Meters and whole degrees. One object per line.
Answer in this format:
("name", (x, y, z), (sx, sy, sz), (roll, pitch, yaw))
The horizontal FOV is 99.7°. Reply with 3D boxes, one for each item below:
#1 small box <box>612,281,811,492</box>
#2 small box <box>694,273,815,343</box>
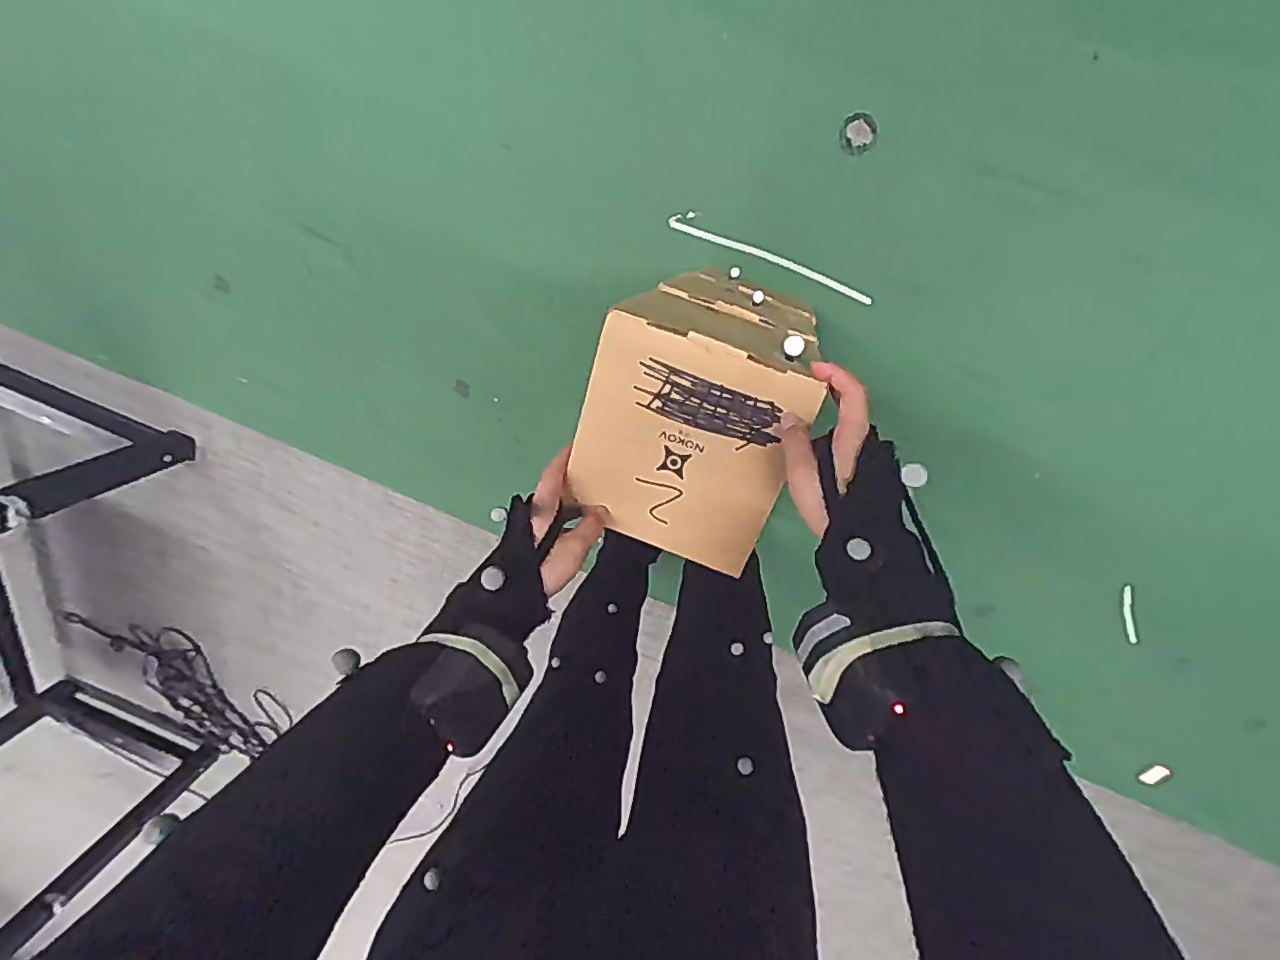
("small box", (0.086, -0.118, 0.633), (0.168, 0.176, 0.179), (21, 116, 5))
("small box", (0.132, -0.184, 0.775), (0.168, 0.176, 0.179), (22, 118, 4))
